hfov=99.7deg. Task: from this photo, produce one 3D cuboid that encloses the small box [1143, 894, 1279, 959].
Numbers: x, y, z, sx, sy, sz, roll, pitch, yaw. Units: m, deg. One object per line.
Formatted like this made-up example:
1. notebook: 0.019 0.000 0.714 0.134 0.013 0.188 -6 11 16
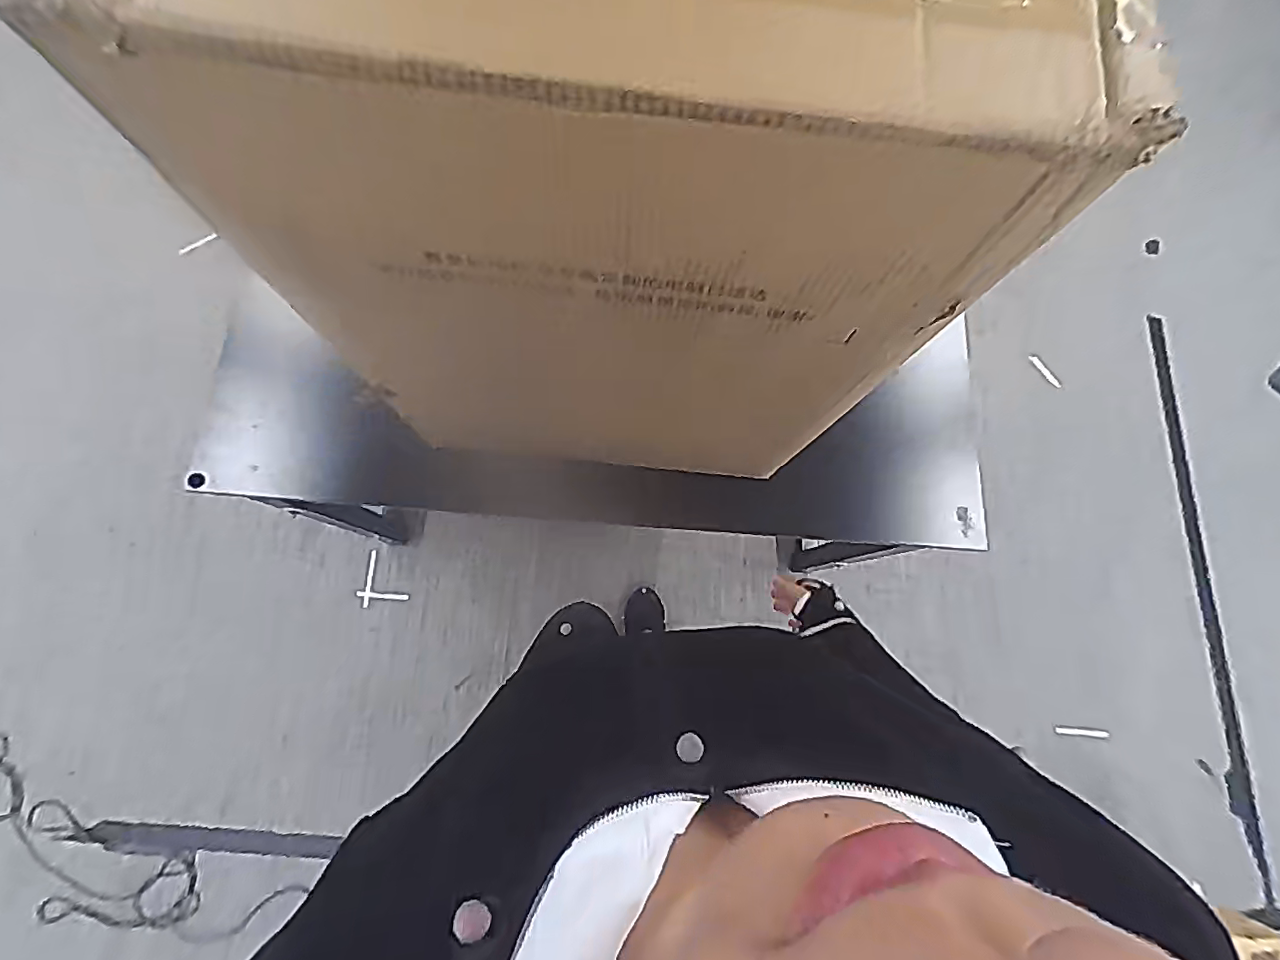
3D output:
1. small box: 1.236 1.026 1.158 0.168 0.176 0.179 4 76 -2
